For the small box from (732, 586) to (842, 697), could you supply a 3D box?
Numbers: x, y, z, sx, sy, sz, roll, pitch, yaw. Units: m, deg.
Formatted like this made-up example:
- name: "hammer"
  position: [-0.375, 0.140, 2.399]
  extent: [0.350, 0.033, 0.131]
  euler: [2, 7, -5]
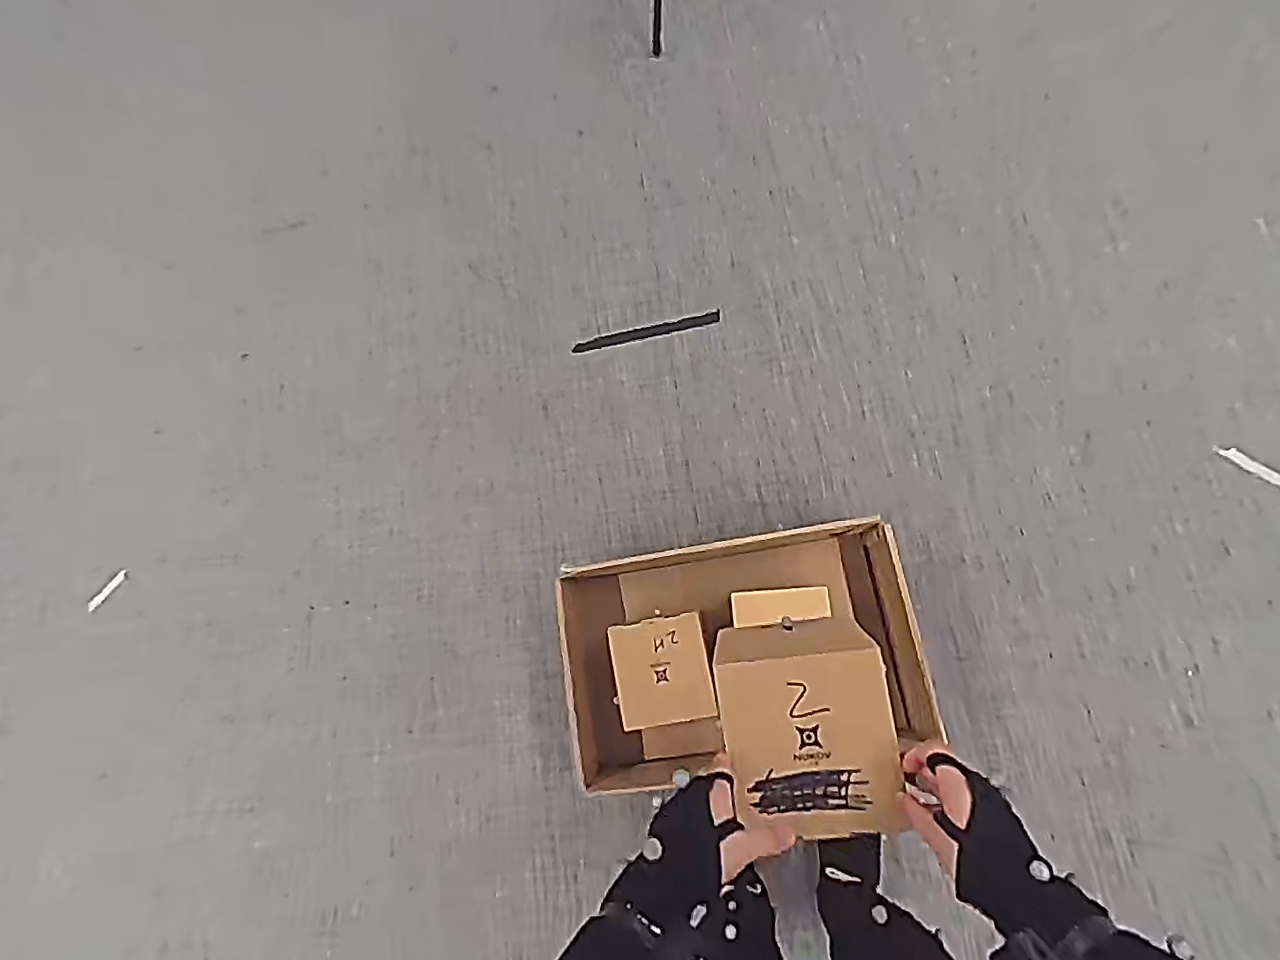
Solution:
- name: "small box"
  position: [0.256, 0.288, 0.984]
  extent: [0.168, 0.176, 0.179]
  euler: [-5, 77, 9]

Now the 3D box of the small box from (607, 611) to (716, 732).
- name: "small box"
  position: [0.047, 0.346, 1.003]
  extent: [0.168, 0.176, 0.179]
  euler: [-12, 76, 5]
